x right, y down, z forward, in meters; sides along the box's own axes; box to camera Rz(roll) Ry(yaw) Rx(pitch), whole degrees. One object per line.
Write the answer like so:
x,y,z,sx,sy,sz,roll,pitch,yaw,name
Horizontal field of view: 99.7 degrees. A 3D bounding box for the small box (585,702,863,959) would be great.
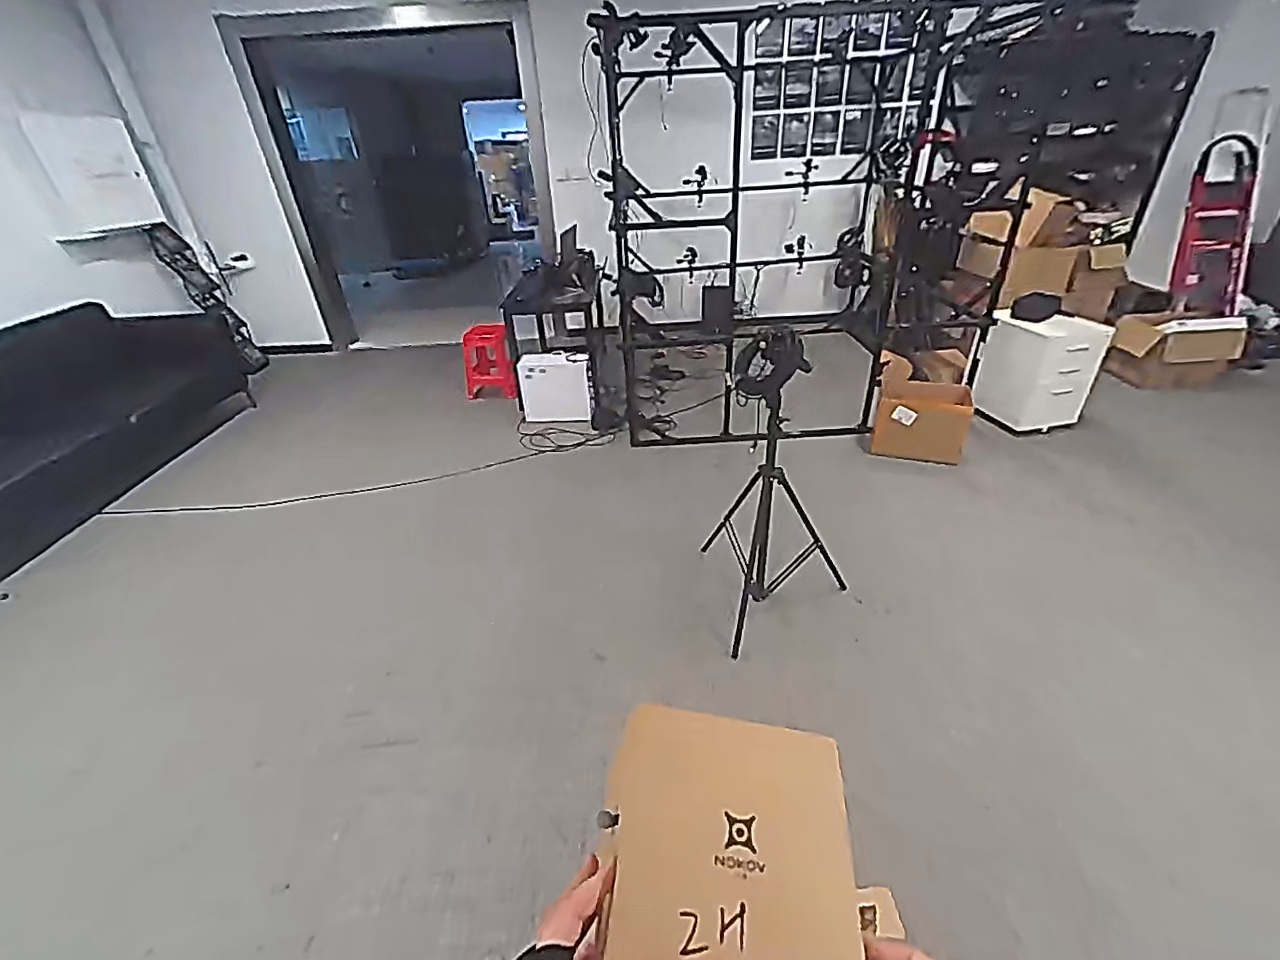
0.054,0.308,0.432,0.168,0.176,0.179,11,46,-2,small box
